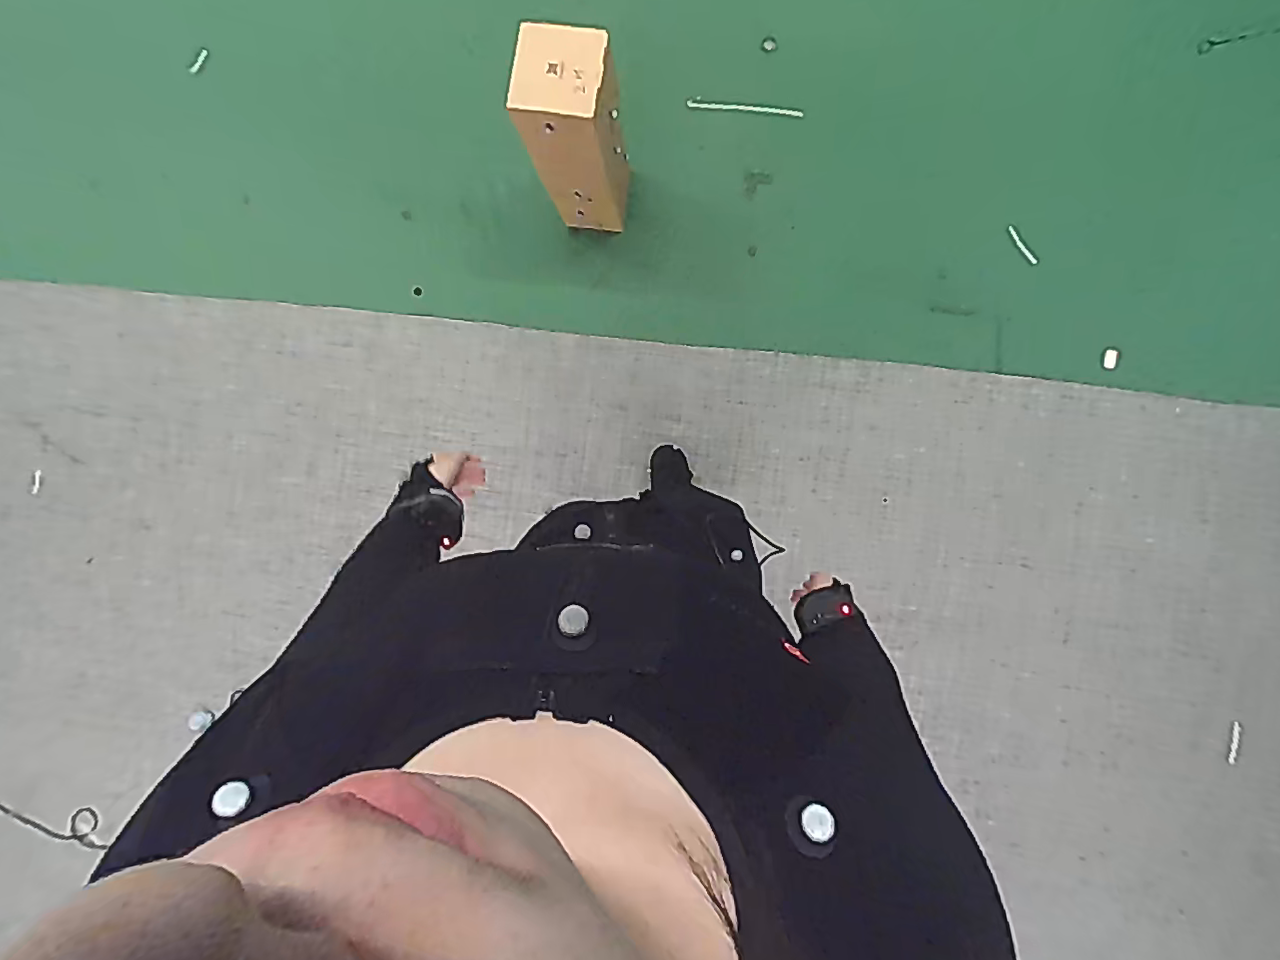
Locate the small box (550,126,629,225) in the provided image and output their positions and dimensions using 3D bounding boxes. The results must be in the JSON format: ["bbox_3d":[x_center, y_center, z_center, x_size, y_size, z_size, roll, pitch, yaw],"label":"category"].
[{"bbox_3d":[-0.125,-0.794,1.416,0.168,0.176,0.179,8,91,5],"label":"small box"}]

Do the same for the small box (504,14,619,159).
[{"bbox_3d":[-0.150,-0.780,1.088,0.179,0.176,0.168,11,93,5],"label":"small box"}]
